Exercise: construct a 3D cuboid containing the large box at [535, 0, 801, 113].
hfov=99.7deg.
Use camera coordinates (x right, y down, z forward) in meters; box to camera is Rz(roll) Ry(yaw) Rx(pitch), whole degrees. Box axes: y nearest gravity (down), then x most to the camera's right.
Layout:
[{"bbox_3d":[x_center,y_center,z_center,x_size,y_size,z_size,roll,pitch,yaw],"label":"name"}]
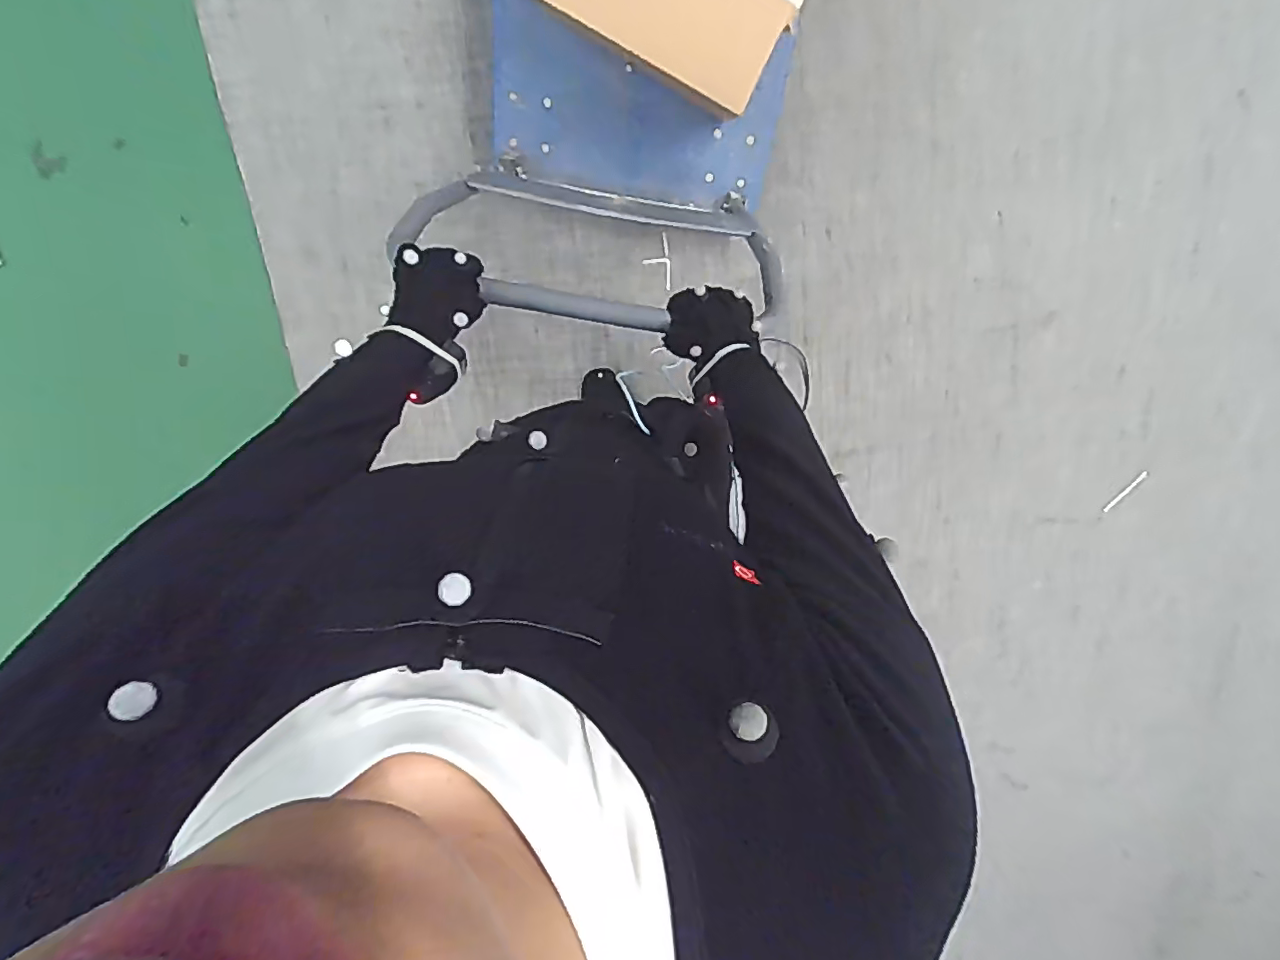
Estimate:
[{"bbox_3d":[0.063,-0.839,0.855,0.408,0.320,0.320,24,121,-10],"label":"large box"}]
